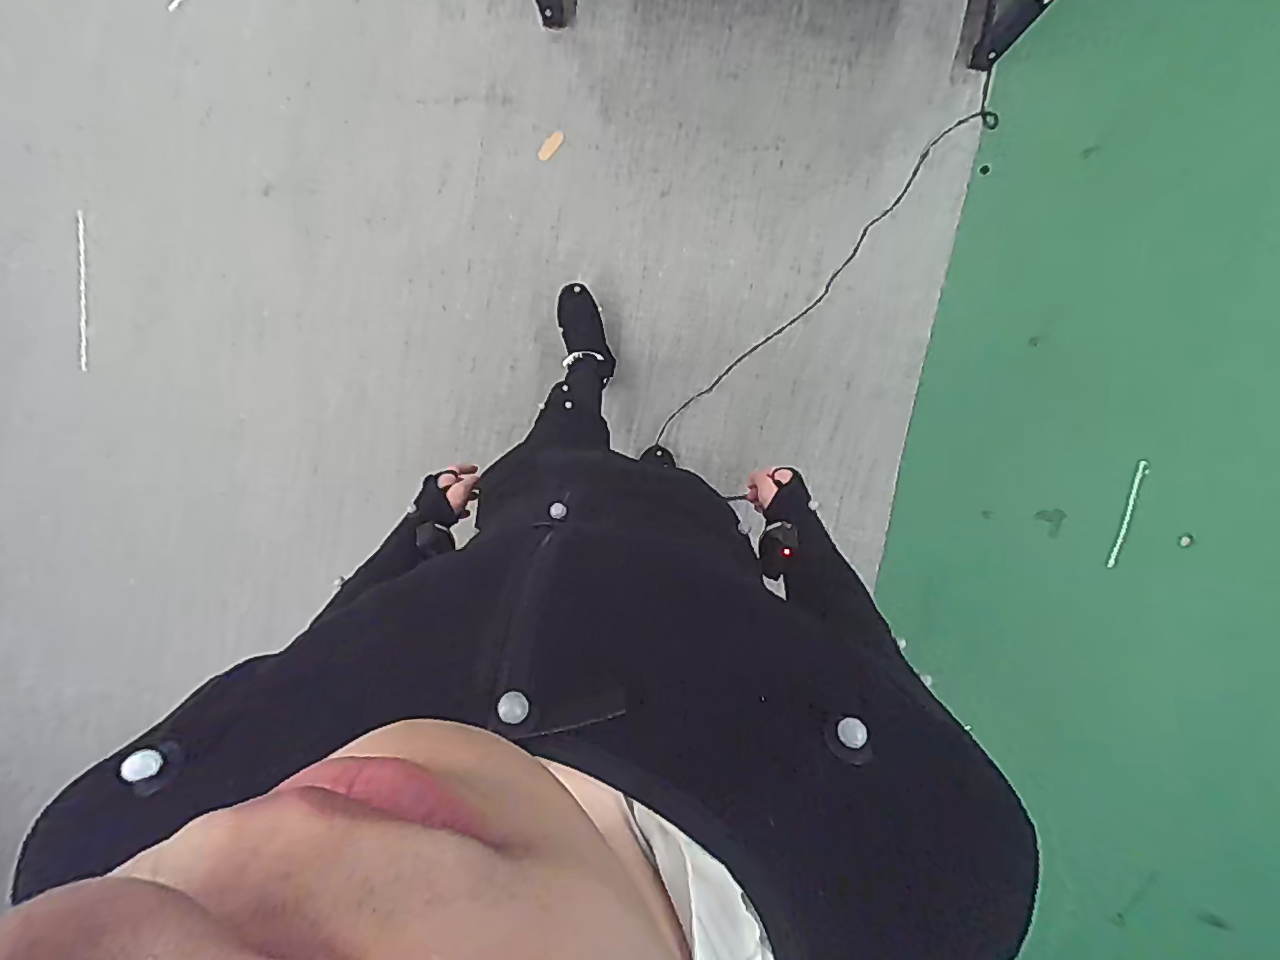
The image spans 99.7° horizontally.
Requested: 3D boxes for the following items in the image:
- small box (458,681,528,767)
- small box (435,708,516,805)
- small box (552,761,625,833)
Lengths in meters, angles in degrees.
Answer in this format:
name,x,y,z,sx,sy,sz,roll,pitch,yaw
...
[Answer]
name,x,y,z,sx,sy,sz,roll,pitch,yaw
small box,-0.454,0.744,1.667,0.179,0.176,0.168,11,99,1
small box,-0.462,0.761,1.506,0.179,0.176,0.168,10,98,0
small box,-0.155,1.017,1.688,0.179,0.176,0.168,18,99,1
